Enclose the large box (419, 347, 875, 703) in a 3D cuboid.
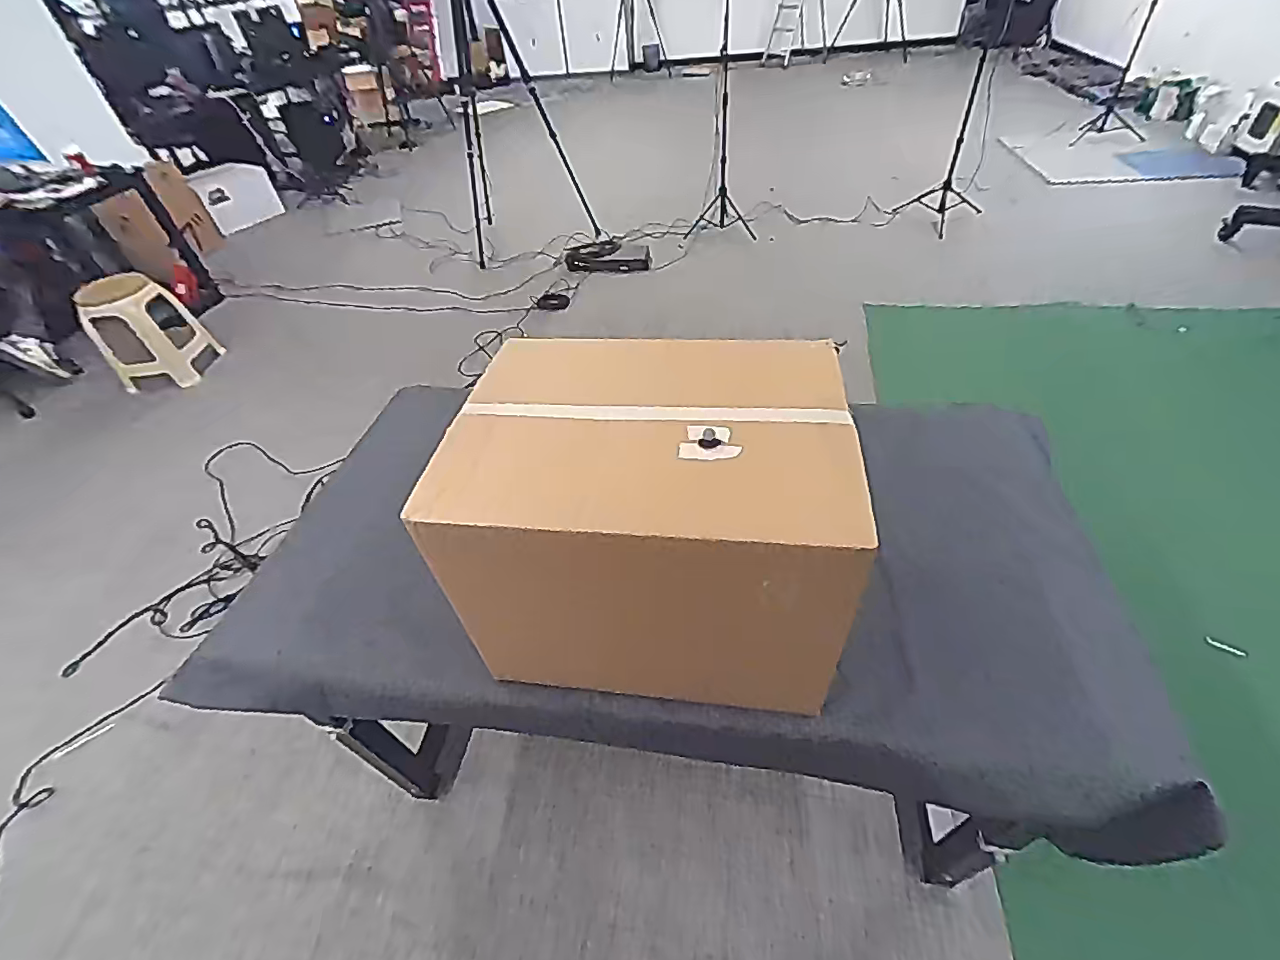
[{"bbox_3d":[0.021,0.047,0.667,0.408,0.320,0.320,3,44,8],"label":"large box"}]
